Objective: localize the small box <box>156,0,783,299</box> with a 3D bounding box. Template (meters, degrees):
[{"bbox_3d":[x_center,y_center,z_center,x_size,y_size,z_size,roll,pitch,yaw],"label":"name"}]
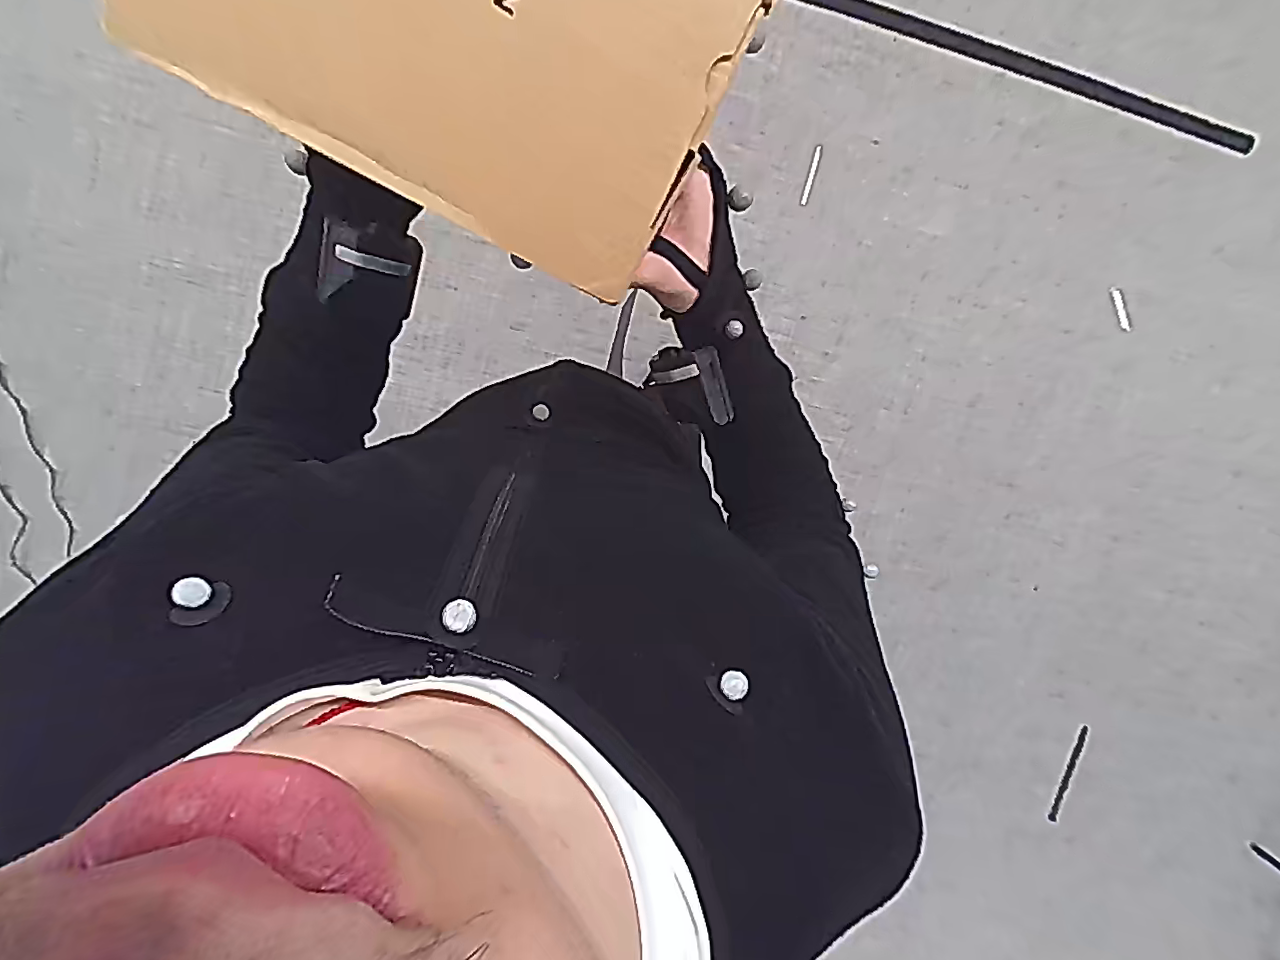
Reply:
[{"bbox_3d":[-0.050,-0.207,0.237,0.179,0.176,0.168,22,113,-17],"label":"small box"}]
